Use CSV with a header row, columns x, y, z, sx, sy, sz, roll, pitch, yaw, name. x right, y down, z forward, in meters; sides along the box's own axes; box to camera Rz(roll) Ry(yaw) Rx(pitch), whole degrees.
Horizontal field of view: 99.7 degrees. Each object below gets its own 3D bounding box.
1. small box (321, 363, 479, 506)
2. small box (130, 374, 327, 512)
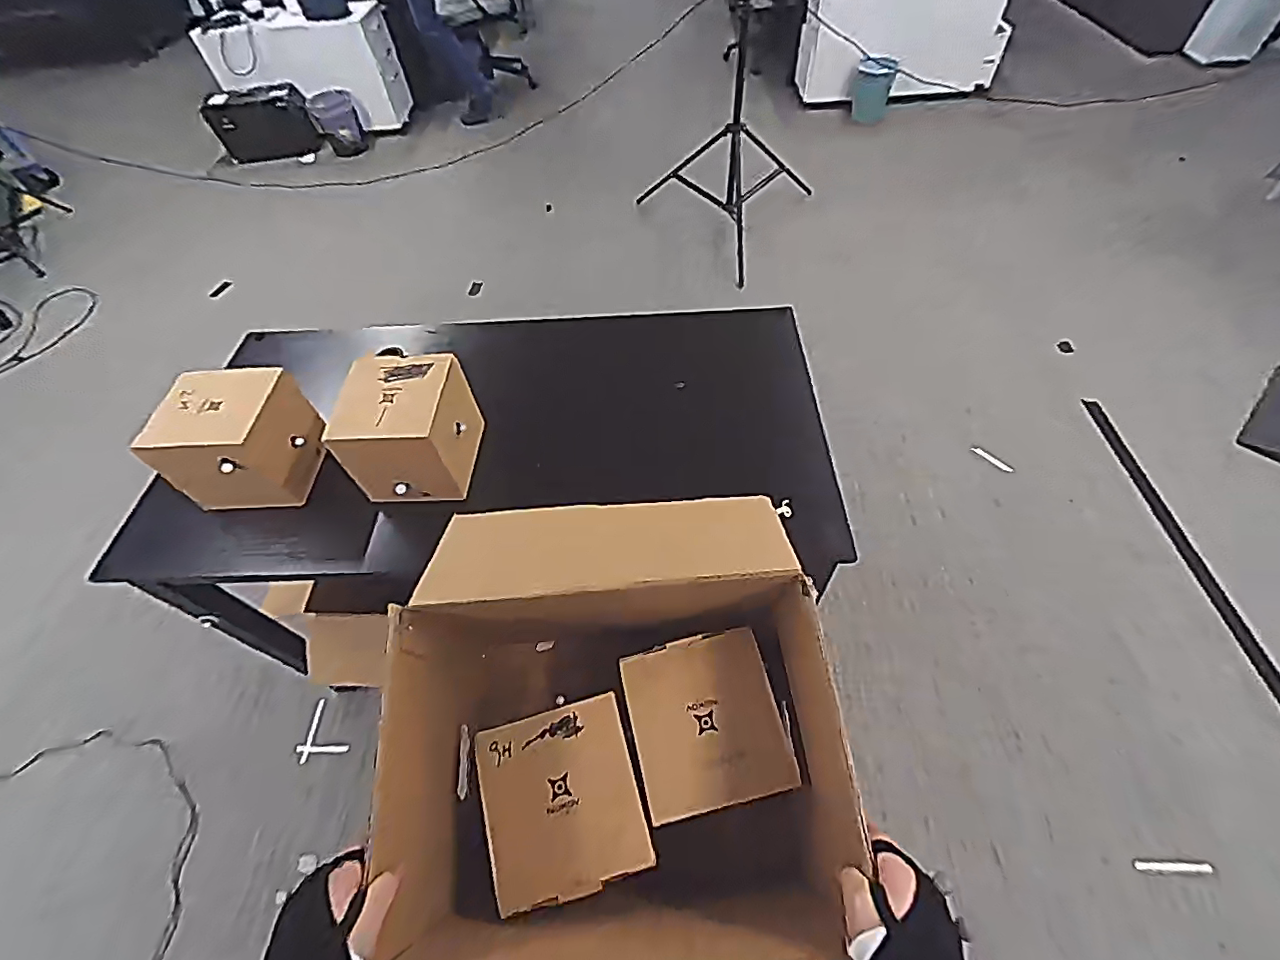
x,y,z,sx,sy,sz,roll,pitch,yaw,name
-0.381,-0.074,0.901,0.168,0.176,0.179,-1,54,3,small box
-0.666,-0.058,0.907,0.179,0.176,0.168,-2,53,2,small box
